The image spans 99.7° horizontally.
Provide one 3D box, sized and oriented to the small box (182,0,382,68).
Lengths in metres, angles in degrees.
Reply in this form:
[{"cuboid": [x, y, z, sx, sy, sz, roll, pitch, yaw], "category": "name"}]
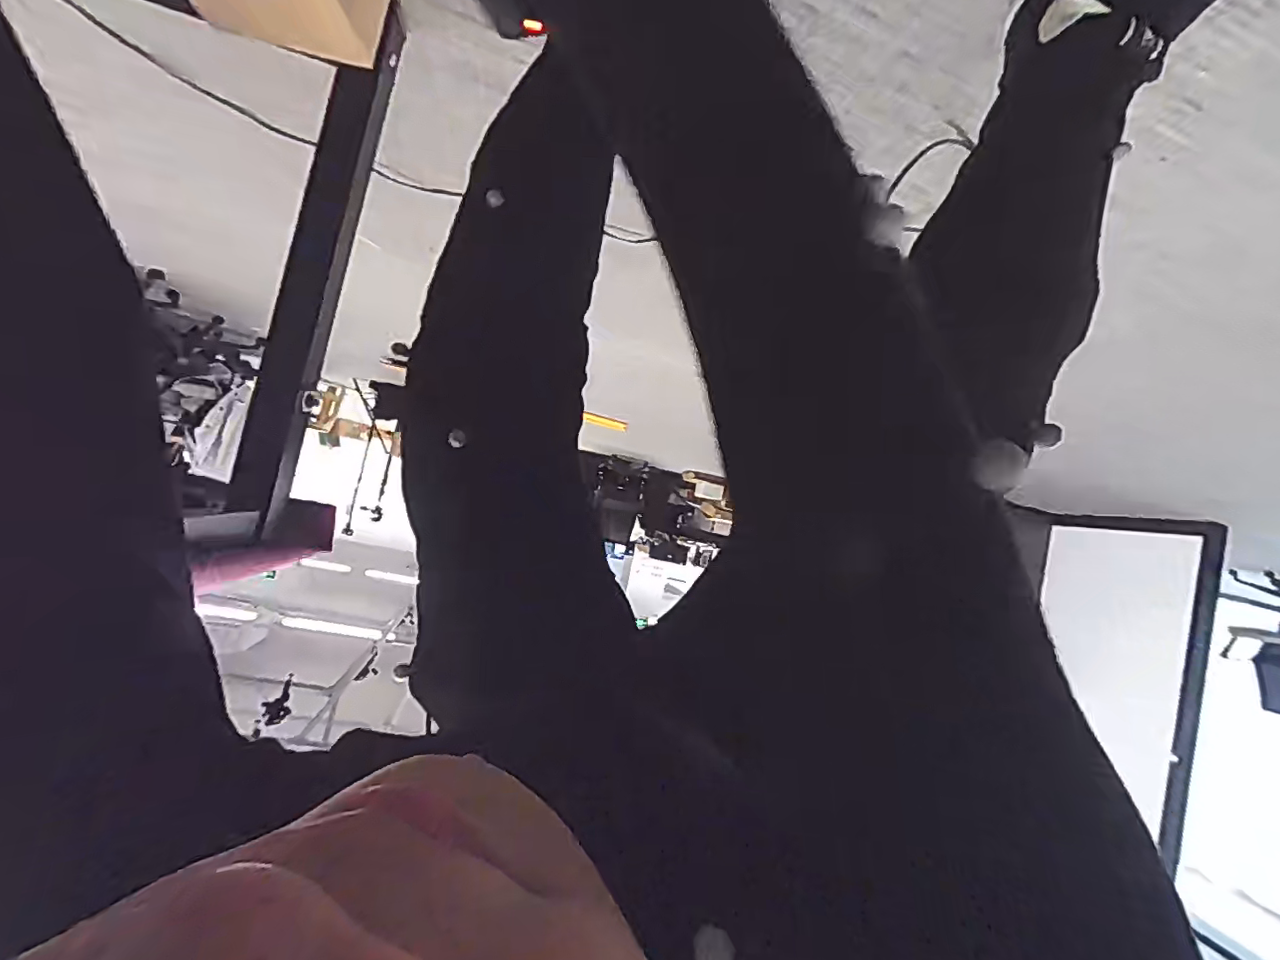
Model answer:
[{"cuboid": [-0.346, -0.536, 0.491, 0.179, 0.176, 0.168, 12, 176, -4], "category": "small box"}]
